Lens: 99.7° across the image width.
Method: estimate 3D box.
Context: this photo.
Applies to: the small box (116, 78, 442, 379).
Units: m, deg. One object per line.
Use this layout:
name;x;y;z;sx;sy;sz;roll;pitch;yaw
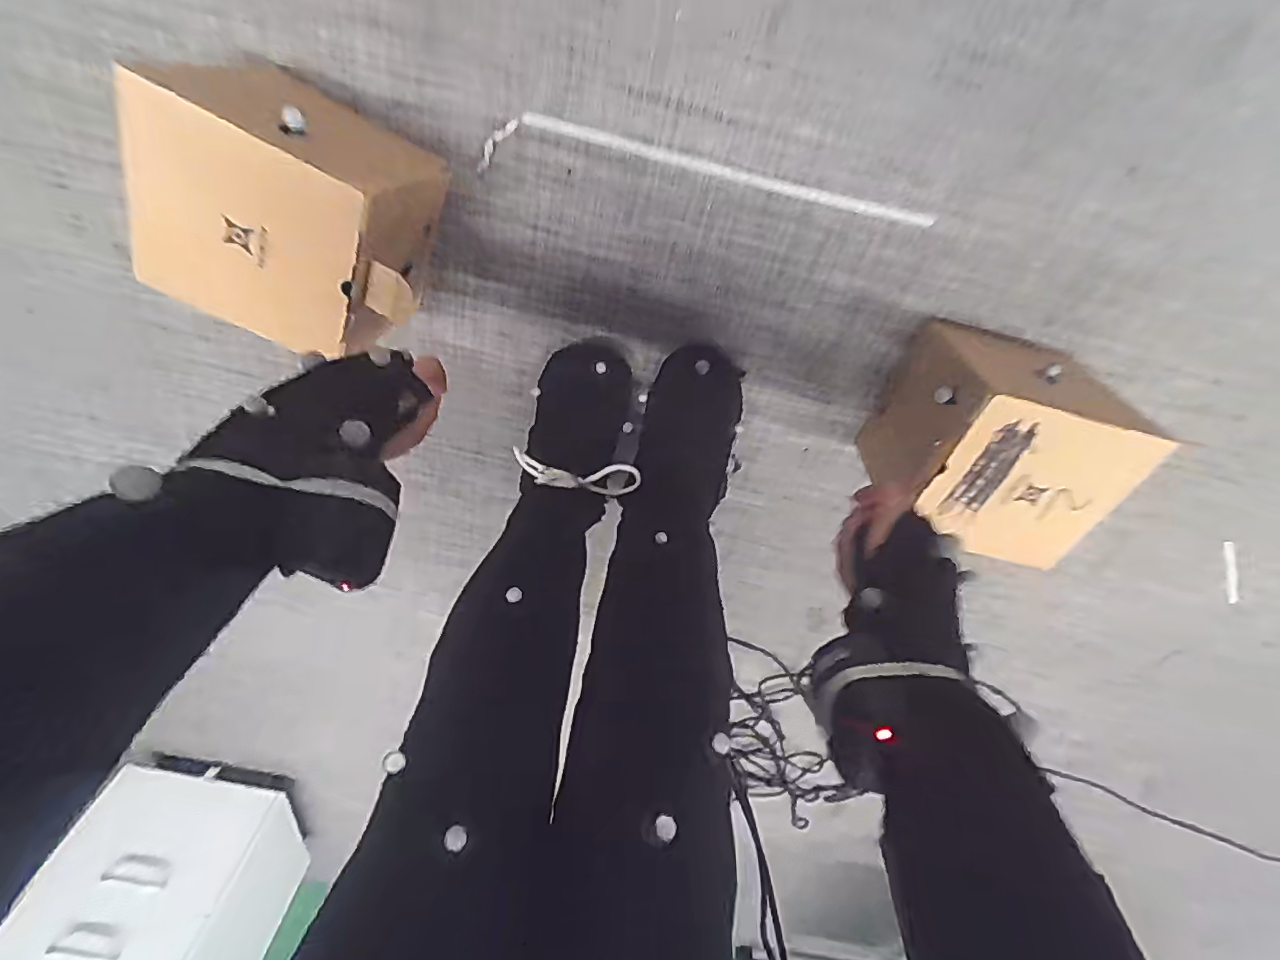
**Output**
small box;-0.311;-0.228;0.494;0.179;0.176;0.168;24;125;-12
